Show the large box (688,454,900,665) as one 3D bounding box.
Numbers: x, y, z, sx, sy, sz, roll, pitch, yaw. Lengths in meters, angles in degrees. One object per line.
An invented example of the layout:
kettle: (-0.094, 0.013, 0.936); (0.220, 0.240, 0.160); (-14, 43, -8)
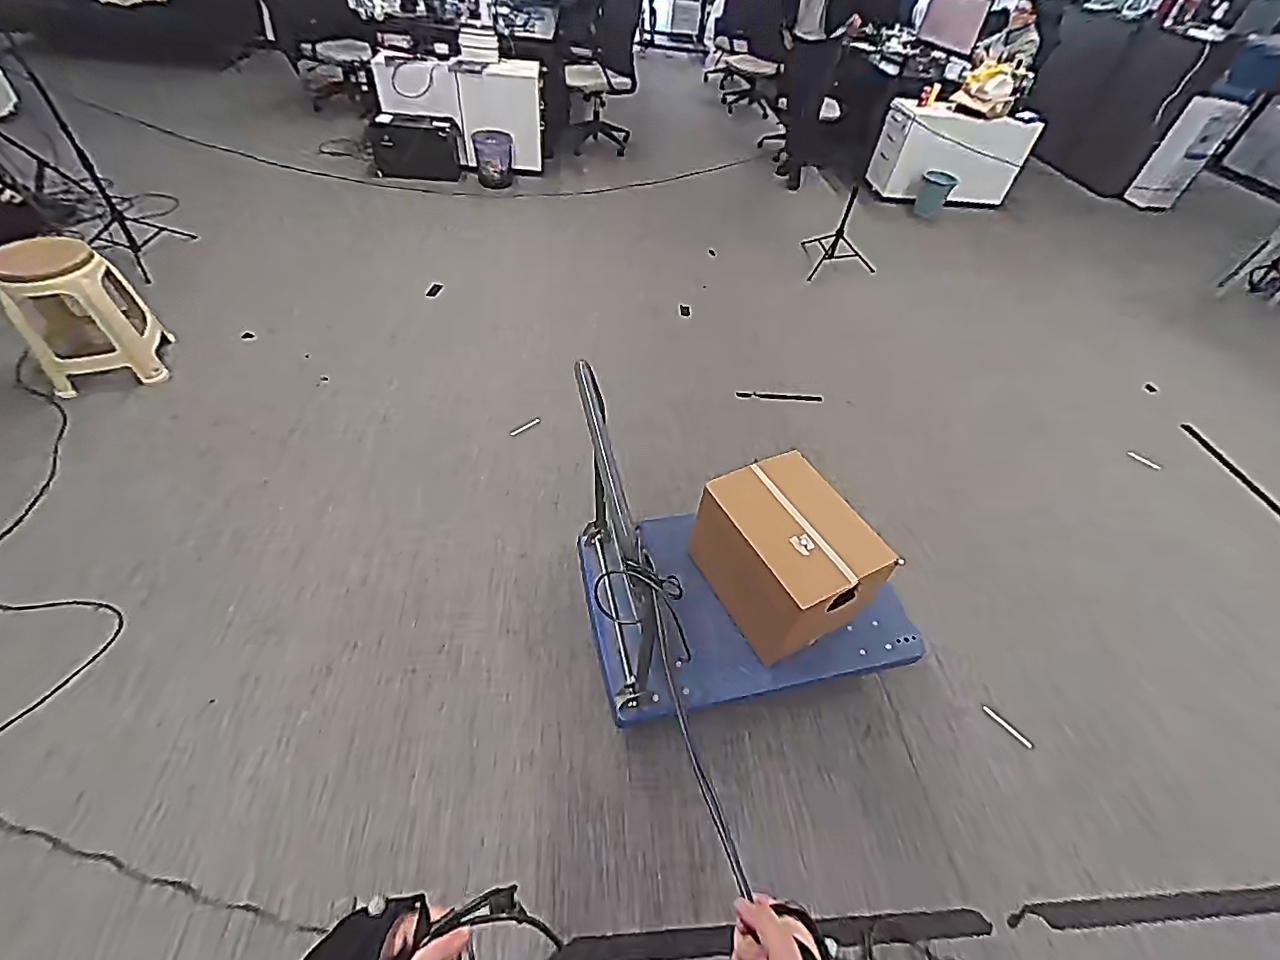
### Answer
large box: (0.378, 0.203, 1.442); (0.320, 0.320, 0.408); (-19, 54, -21)
